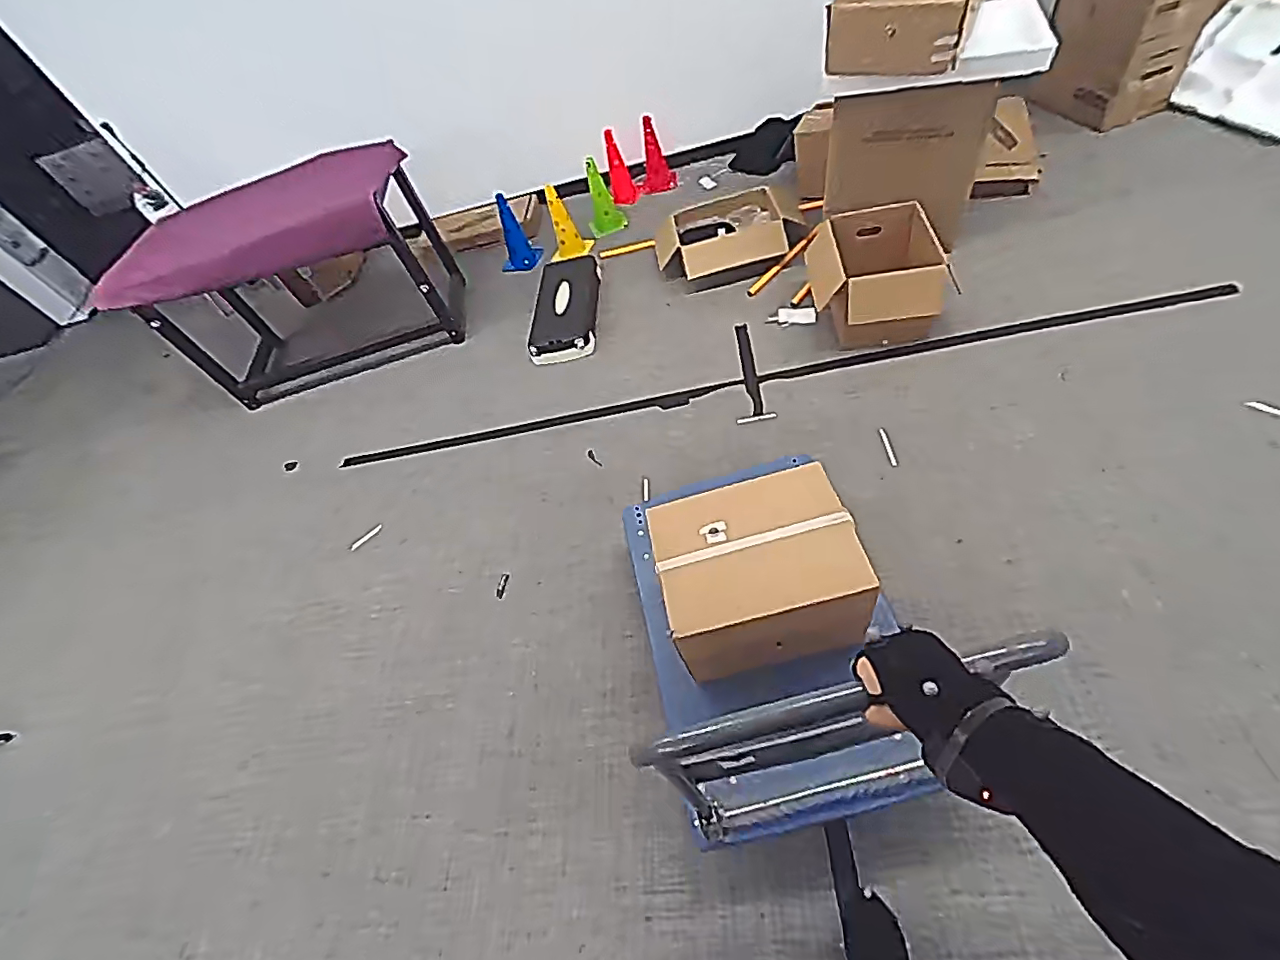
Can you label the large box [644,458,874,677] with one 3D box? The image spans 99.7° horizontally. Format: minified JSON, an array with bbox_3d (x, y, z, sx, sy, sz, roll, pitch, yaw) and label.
[{"bbox_3d":[0.261,0.208,1.225,0.408,0.320,0.320,-17,51,6],"label":"large box"}]
